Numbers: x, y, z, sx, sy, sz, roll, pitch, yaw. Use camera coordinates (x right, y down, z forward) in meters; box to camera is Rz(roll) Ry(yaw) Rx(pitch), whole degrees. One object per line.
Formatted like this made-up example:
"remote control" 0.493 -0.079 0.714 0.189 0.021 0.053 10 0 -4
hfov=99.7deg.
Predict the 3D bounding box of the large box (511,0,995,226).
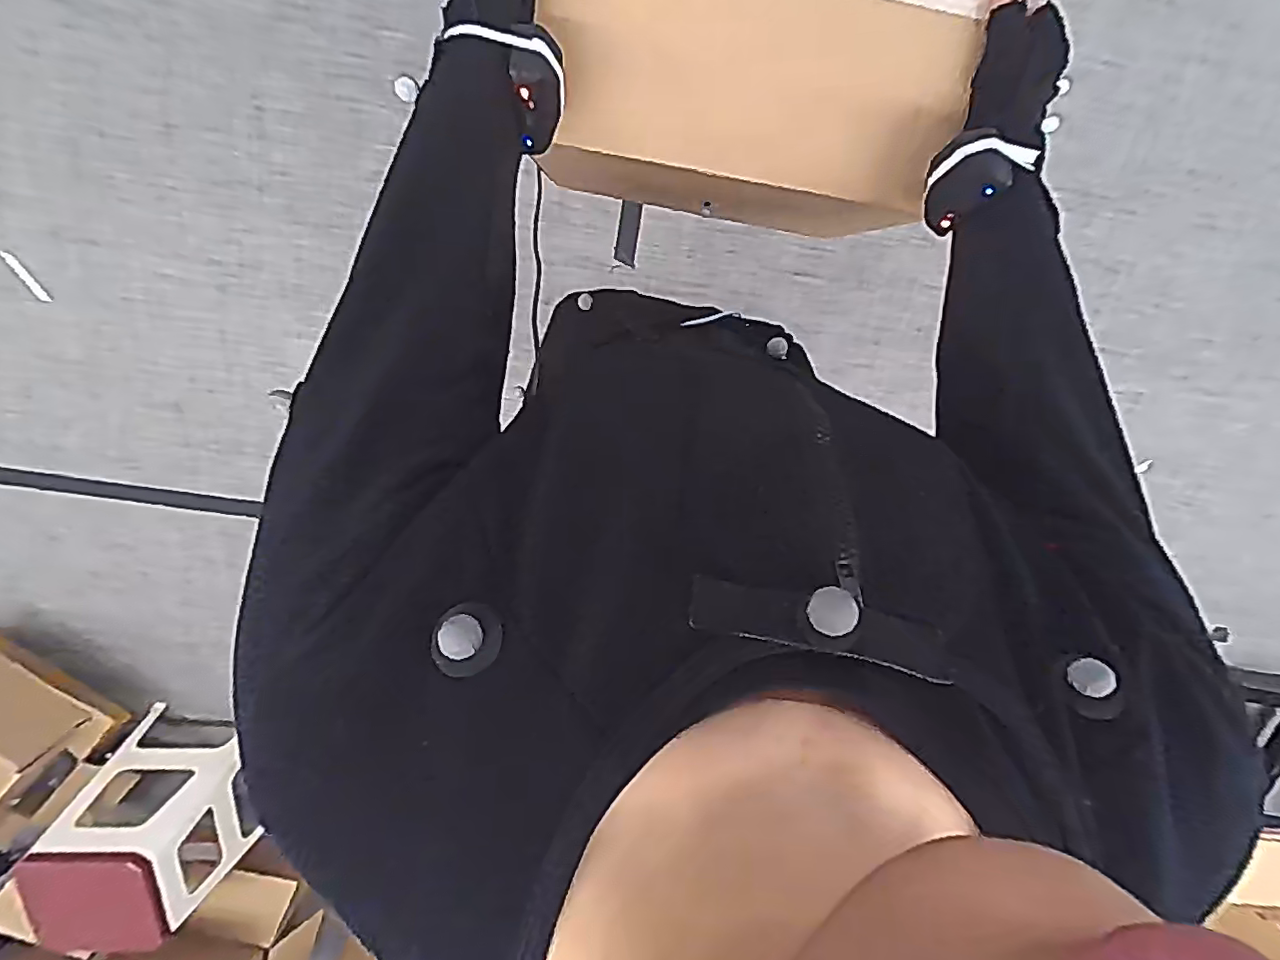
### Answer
"large box" 0.105 -0.482 0.584 0.408 0.320 0.320 10 109 -4
